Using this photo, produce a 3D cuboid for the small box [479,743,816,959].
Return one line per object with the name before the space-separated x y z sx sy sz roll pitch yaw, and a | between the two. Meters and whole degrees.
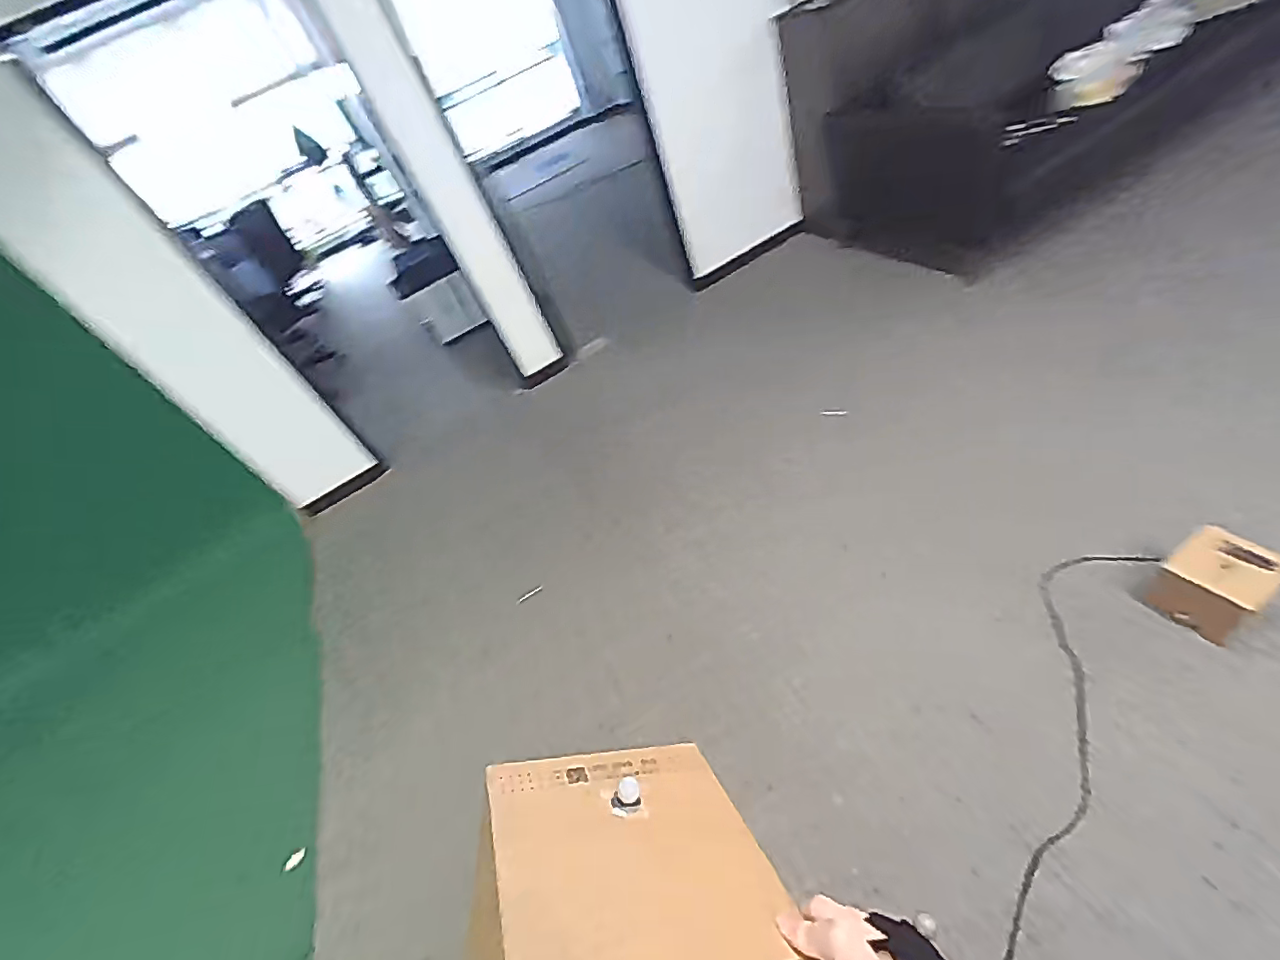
small box | -0.015 0.312 0.363 0.168 0.179 0.176 5 12 -20
